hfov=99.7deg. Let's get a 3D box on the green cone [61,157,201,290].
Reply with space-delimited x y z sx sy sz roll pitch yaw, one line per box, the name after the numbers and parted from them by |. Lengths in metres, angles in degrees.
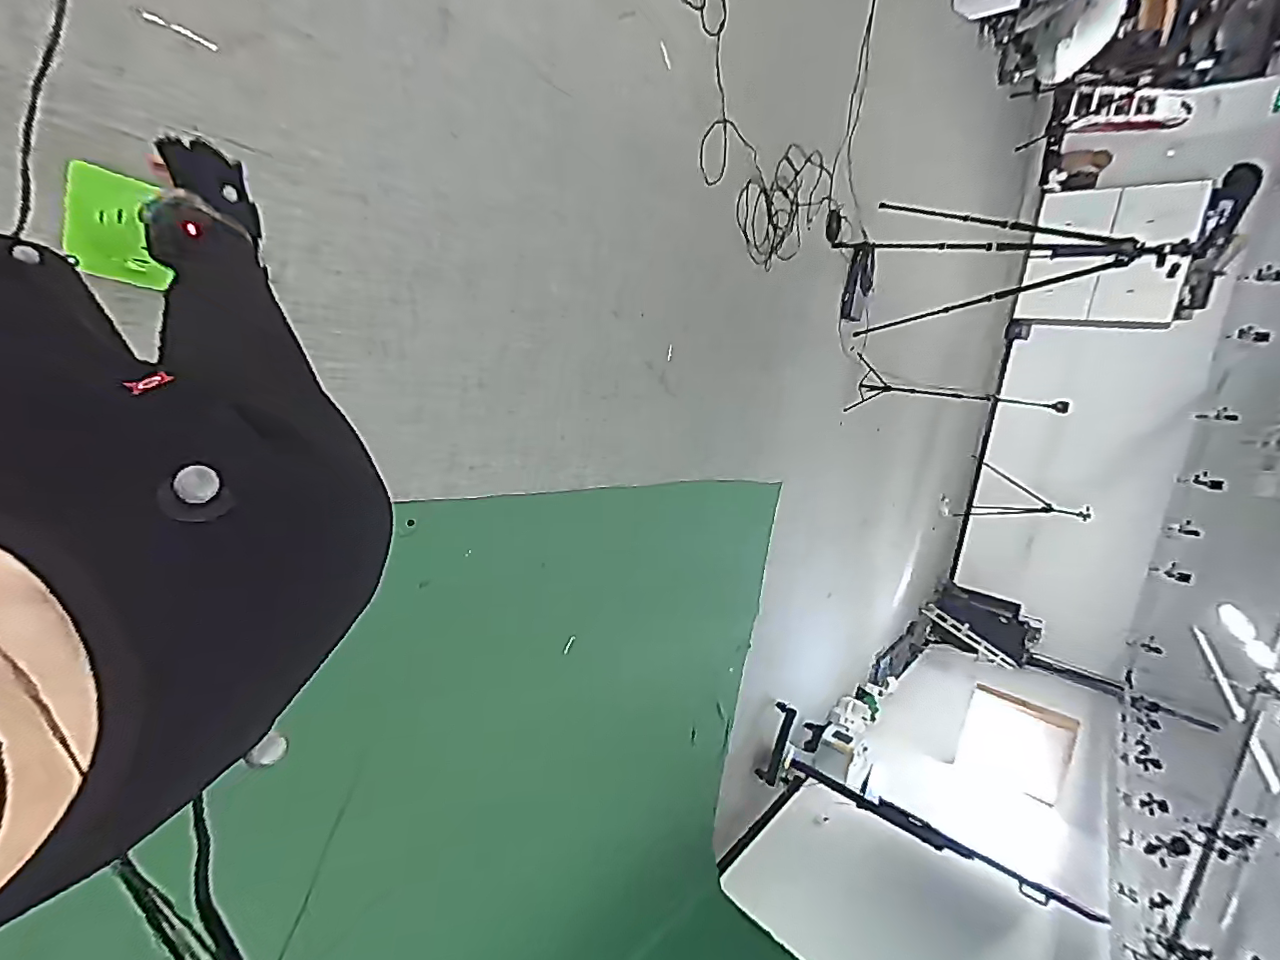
-0.873 -0.465 0.965 0.200 0.368 0.202 1 101 -51 | green cone
